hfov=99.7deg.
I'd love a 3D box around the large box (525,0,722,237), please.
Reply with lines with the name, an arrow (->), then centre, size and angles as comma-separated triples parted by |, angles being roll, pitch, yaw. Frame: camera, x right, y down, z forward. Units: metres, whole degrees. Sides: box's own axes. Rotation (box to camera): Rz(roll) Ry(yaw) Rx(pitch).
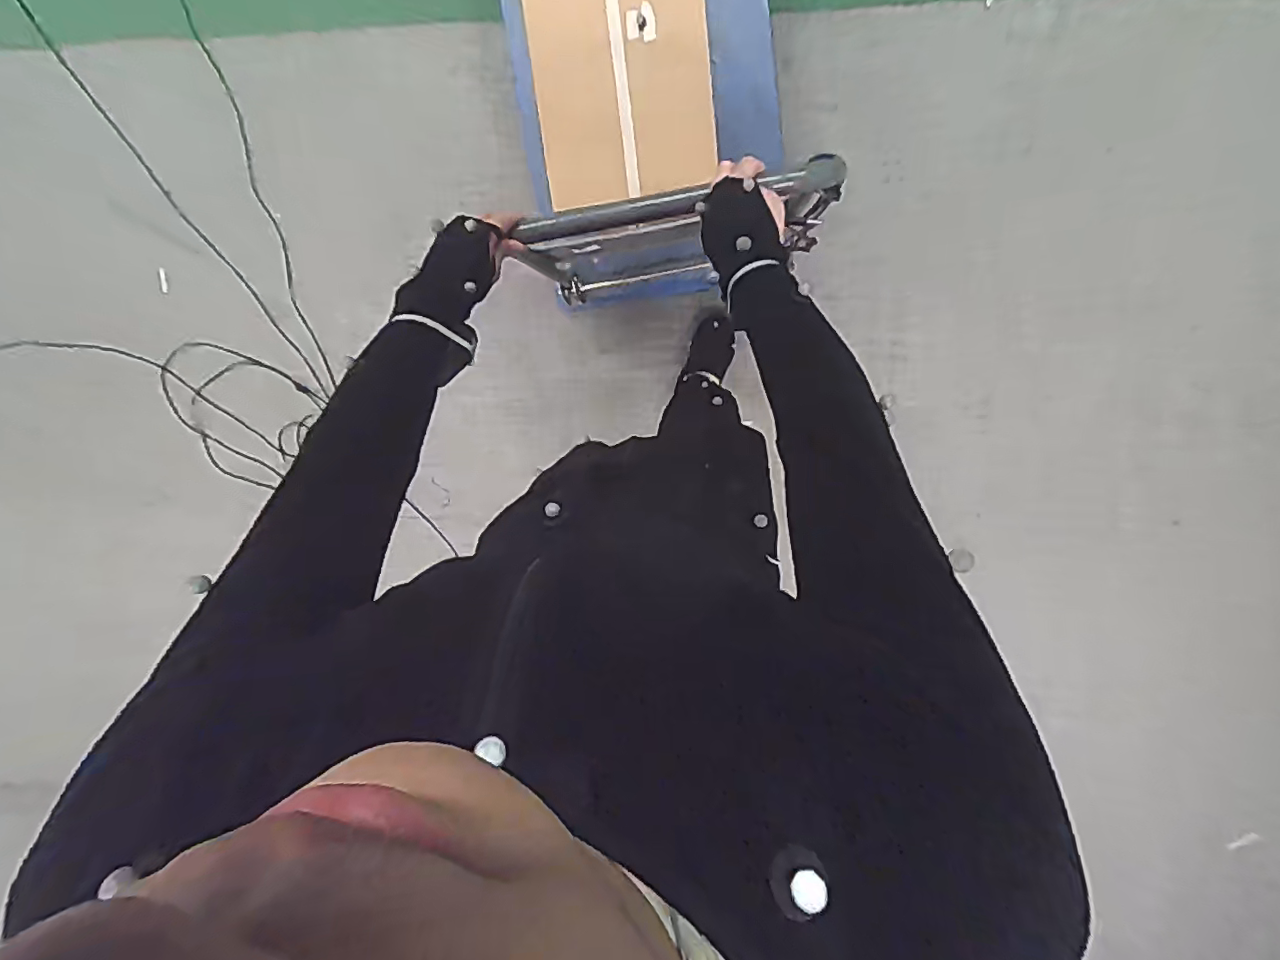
large box -> -0.012, -0.742, 1.074 | 0.320, 0.320, 0.408 | -5, 104, 7
